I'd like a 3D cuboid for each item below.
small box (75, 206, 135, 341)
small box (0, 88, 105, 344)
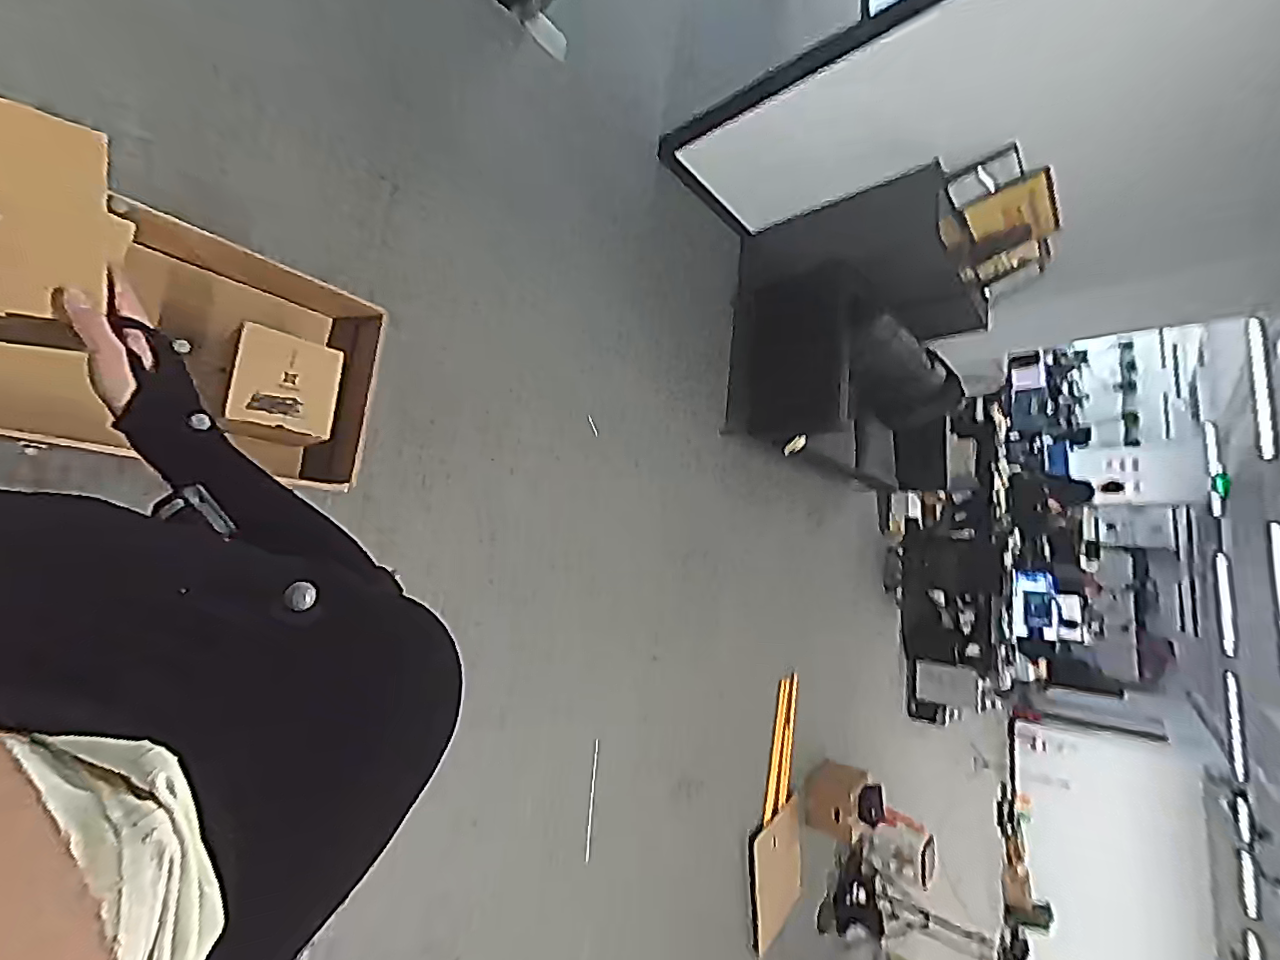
[{"bbox_3d":[-0.896,-0.330,0.803,0.168,0.176,0.179,19,74,-47],"label":"small box"},{"bbox_3d":[-0.589,-0.228,0.465,0.168,0.176,0.179,0,91,-50],"label":"small box"}]
